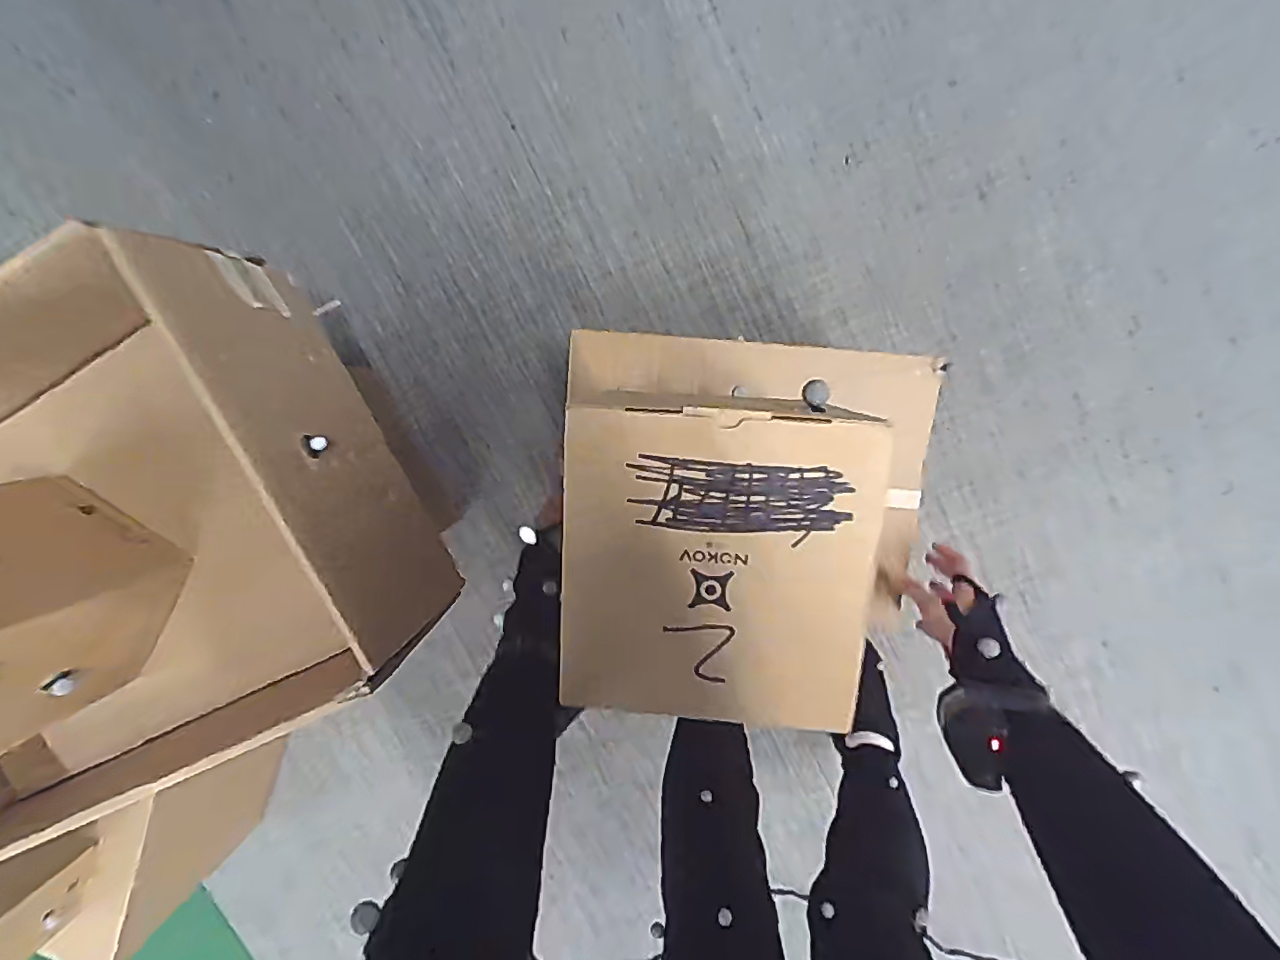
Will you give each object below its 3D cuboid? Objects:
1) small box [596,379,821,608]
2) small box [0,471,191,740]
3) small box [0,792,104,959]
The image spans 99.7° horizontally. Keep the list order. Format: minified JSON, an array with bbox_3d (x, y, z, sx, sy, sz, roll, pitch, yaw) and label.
[{"bbox_3d":[0.060,-0.001,0.531,0.168,0.176,0.179,9,102,4],"label":"small box"},{"bbox_3d":[-0.580,0.115,0.504,0.168,0.176,0.179,34,102,-2],"label":"small box"},{"bbox_3d":[-0.898,0.563,0.724,0.179,0.176,0.168,27,102,0],"label":"small box"}]
